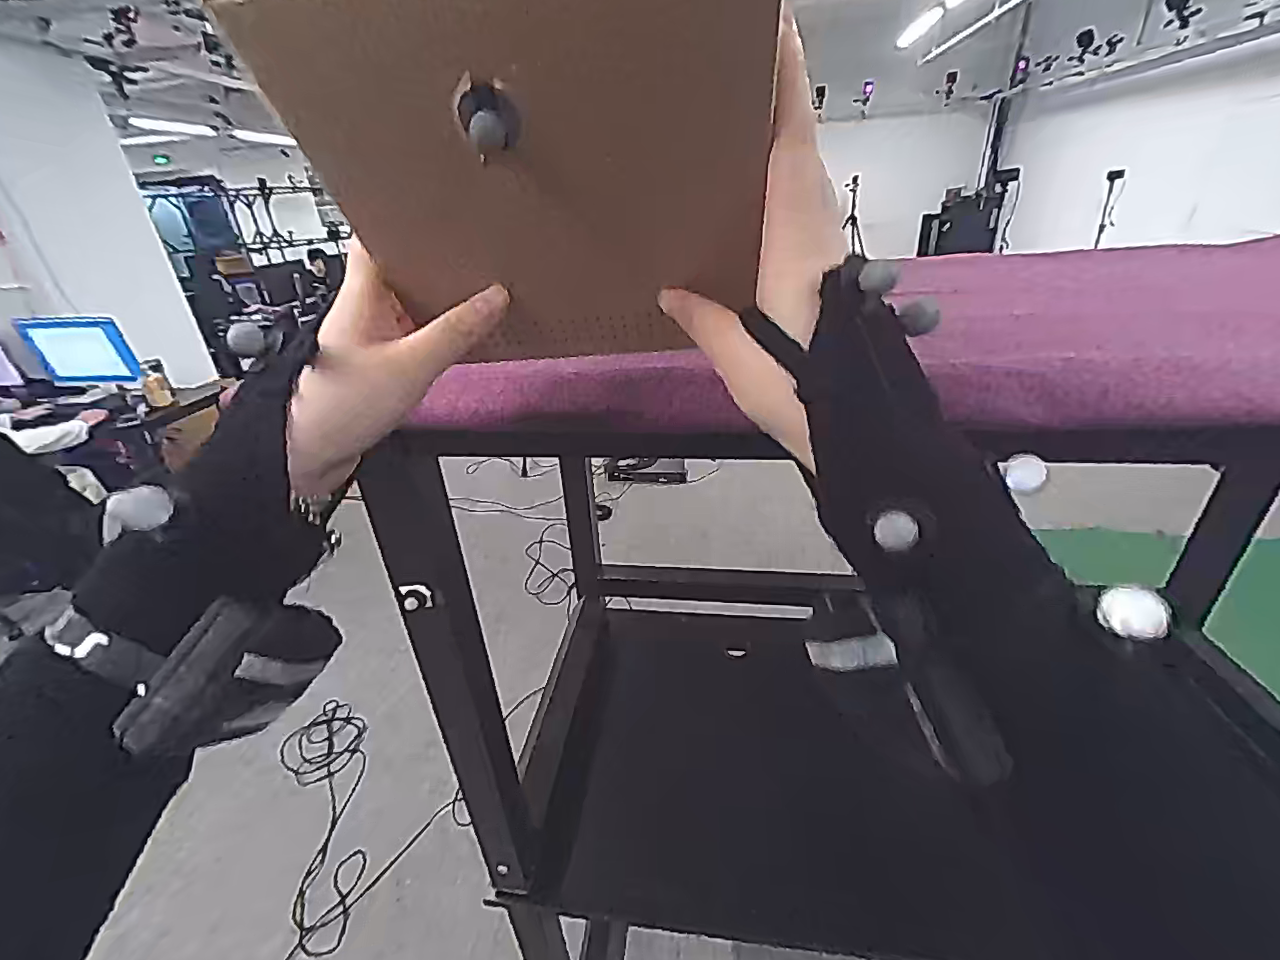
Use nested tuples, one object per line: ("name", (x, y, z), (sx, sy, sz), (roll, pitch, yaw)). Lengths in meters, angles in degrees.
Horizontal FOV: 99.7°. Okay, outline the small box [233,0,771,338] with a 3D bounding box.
("small box", (-0.035, -0.185, 0.256), (0.179, 0.176, 0.168), (-2, 60, 7))
